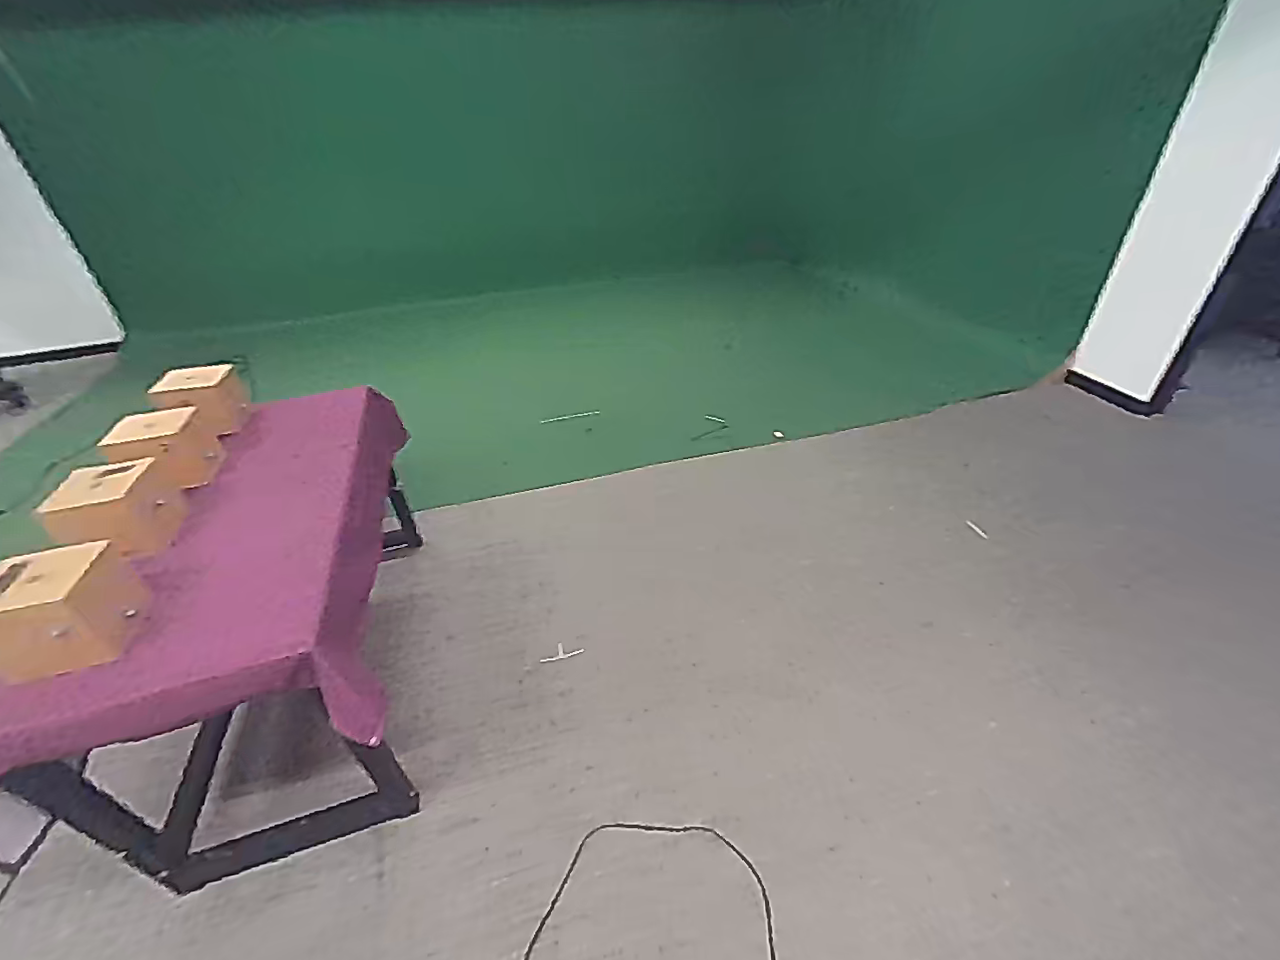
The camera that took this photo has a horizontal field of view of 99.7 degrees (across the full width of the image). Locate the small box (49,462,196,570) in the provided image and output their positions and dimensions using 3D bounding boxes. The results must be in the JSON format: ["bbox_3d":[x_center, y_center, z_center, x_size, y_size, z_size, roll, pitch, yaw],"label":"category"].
[{"bbox_3d":[-1.203,0.083,1.279,0.168,0.176,0.179,-12,37,-11],"label":"small box"}]

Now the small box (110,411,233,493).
[{"bbox_3d":[-1.288,-0.068,1.502,0.179,0.176,0.168,-12,36,-13],"label":"small box"}]

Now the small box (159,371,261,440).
[{"bbox_3d":[-1.363,-0.232,1.728,0.179,0.176,0.168,-9,37,-12],"label":"small box"}]
